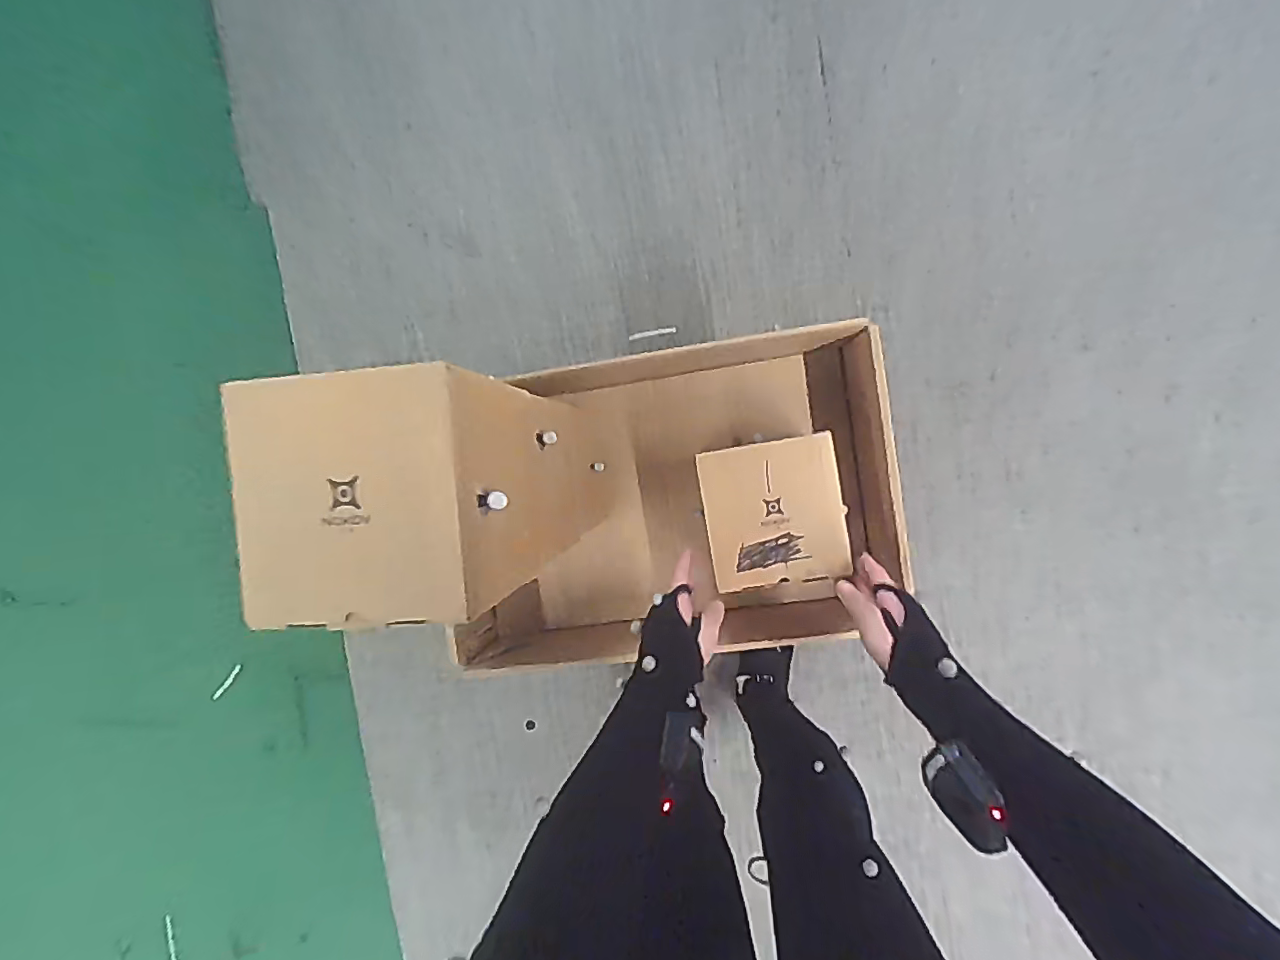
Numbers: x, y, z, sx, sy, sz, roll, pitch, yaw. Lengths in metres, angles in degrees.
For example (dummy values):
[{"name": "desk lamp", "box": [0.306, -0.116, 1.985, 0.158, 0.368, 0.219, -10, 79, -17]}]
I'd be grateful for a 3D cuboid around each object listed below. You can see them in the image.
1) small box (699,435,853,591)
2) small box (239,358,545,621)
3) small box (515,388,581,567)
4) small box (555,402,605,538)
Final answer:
[{"name": "small box", "box": [0.175, 0.038, 0.733, 0.168, 0.176, 0.179, -9, 90, 7]}, {"name": "small box", "box": [-0.183, 0.006, 0.448, 0.168, 0.176, 0.179, -3, 93, 7]}, {"name": "small box", "box": [-0.168, 0.000, 0.610, 0.168, 0.176, 0.179, -4, 92, 8]}, {"name": "small box", "box": [-0.150, -0.007, 0.773, 0.168, 0.176, 0.179, -6, 92, 7]}]
